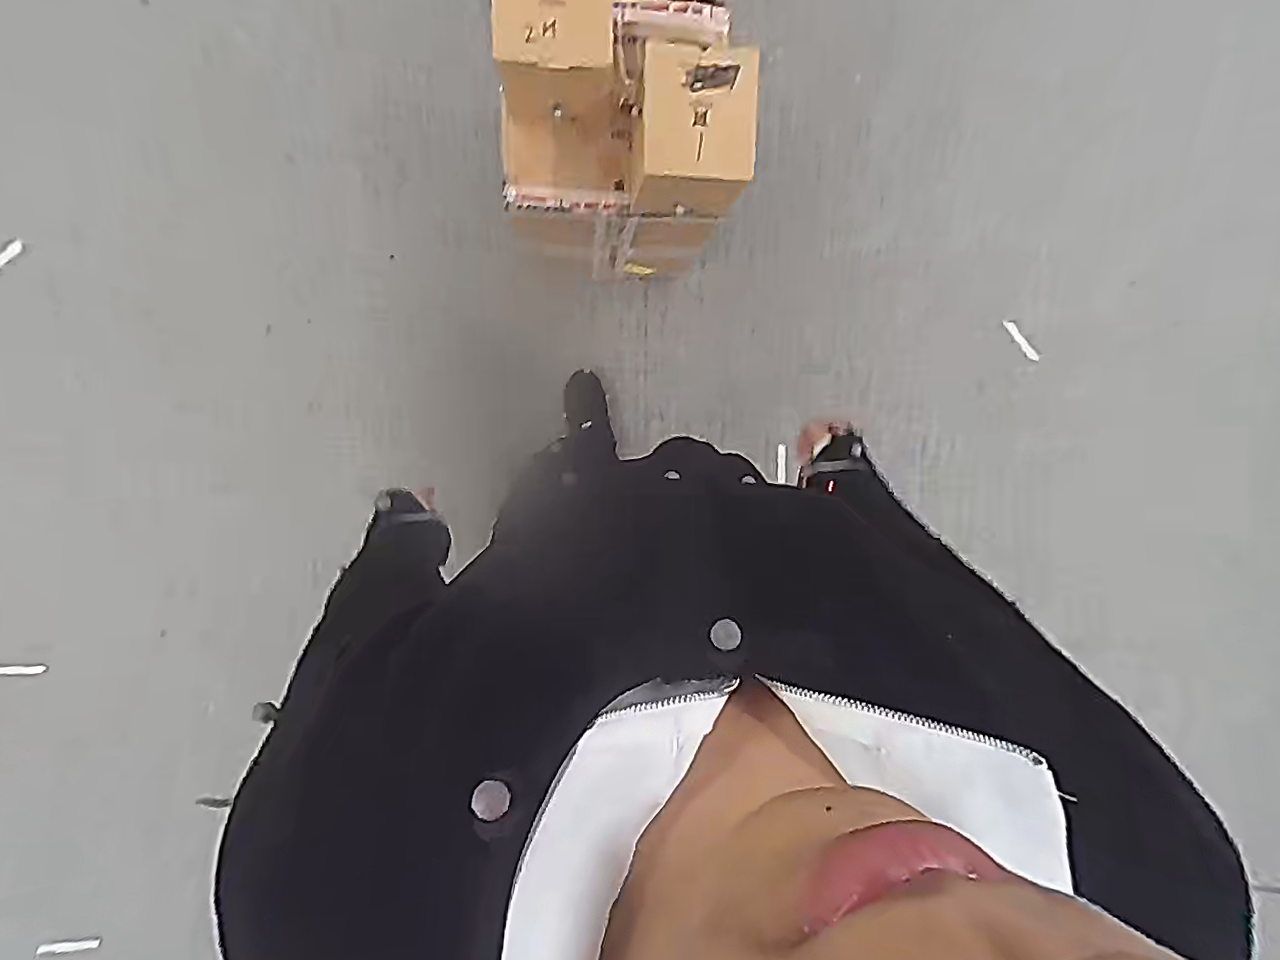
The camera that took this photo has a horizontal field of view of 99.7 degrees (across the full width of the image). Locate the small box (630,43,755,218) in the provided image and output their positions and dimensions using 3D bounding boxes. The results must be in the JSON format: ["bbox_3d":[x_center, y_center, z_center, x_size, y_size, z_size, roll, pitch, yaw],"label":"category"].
[{"bbox_3d":[0.074,-0.539,0.857,0.168,0.176,0.179,0,100,-7],"label":"small box"}]

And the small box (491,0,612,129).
[{"bbox_3d":[-0.127,-0.669,0.815,0.168,0.176,0.179,1,99,-4],"label":"small box"}]
